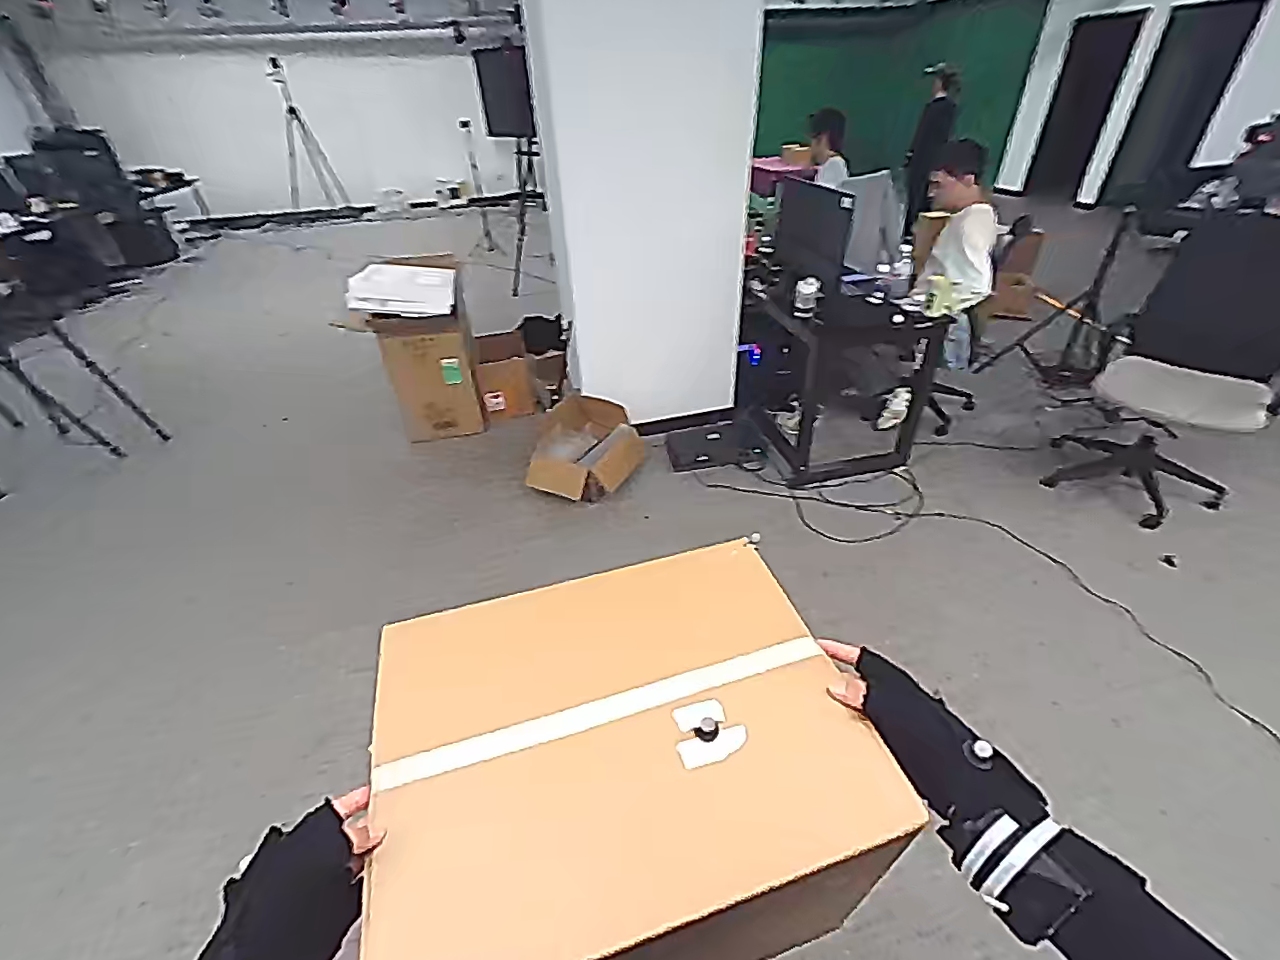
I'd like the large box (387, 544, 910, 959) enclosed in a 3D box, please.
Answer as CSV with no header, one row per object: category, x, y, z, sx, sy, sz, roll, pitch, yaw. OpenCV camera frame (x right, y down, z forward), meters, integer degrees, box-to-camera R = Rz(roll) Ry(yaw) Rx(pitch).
large box,-0.016,0.324,0.582,0.408,0.320,0.320,-12,41,-13
